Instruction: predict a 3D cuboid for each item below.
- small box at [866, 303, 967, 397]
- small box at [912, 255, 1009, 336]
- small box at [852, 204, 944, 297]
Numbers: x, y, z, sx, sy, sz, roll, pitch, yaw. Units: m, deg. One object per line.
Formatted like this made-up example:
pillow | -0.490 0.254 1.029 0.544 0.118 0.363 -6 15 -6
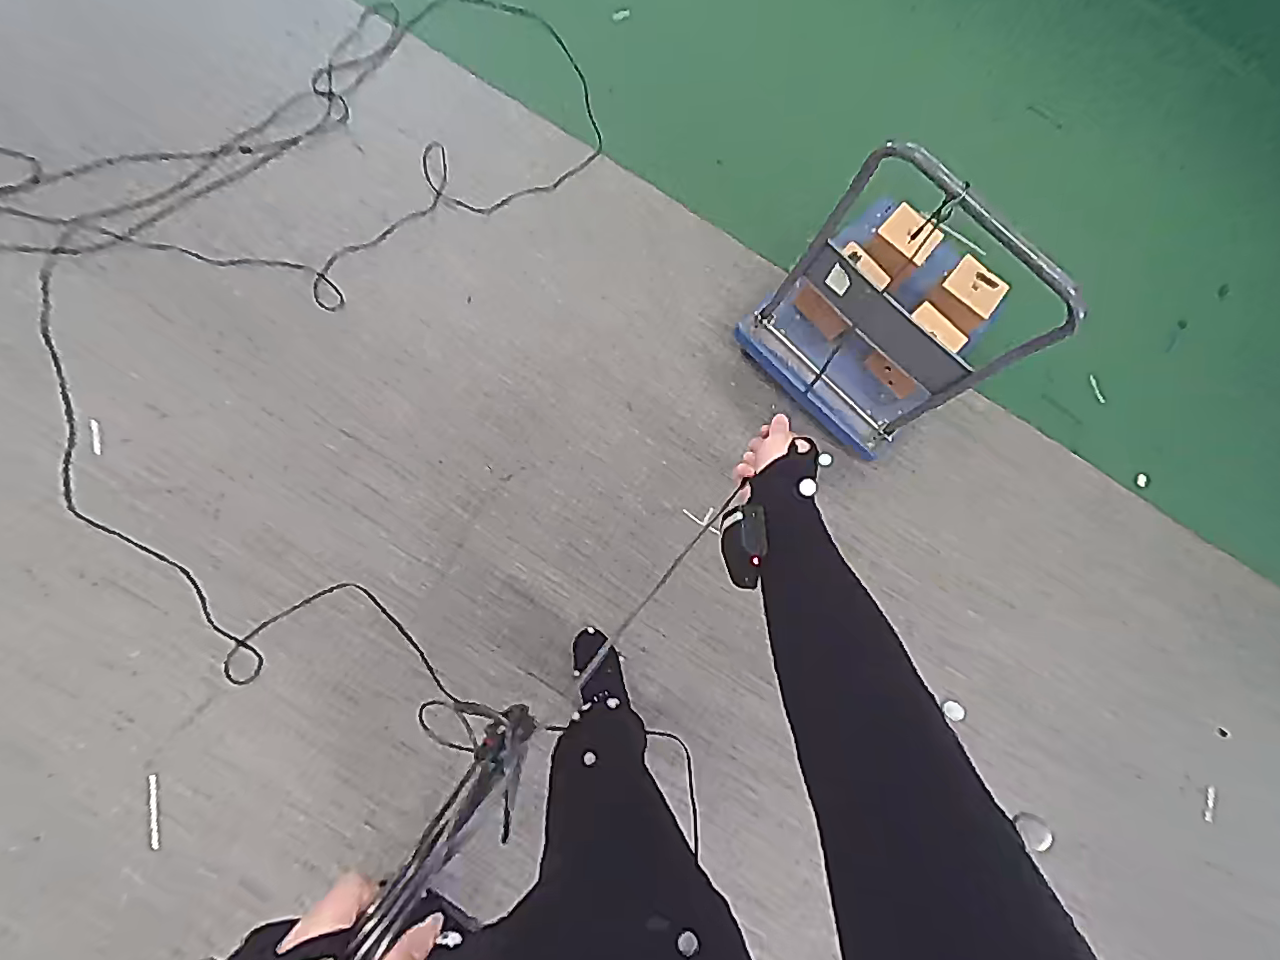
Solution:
small box | 0.810 -0.380 1.600 0.168 0.176 0.179 46 70 5
small box | 0.994 -0.555 1.693 0.168 0.176 0.179 41 70 5
small box | 0.805 -0.720 1.710 0.168 0.176 0.179 42 69 3
